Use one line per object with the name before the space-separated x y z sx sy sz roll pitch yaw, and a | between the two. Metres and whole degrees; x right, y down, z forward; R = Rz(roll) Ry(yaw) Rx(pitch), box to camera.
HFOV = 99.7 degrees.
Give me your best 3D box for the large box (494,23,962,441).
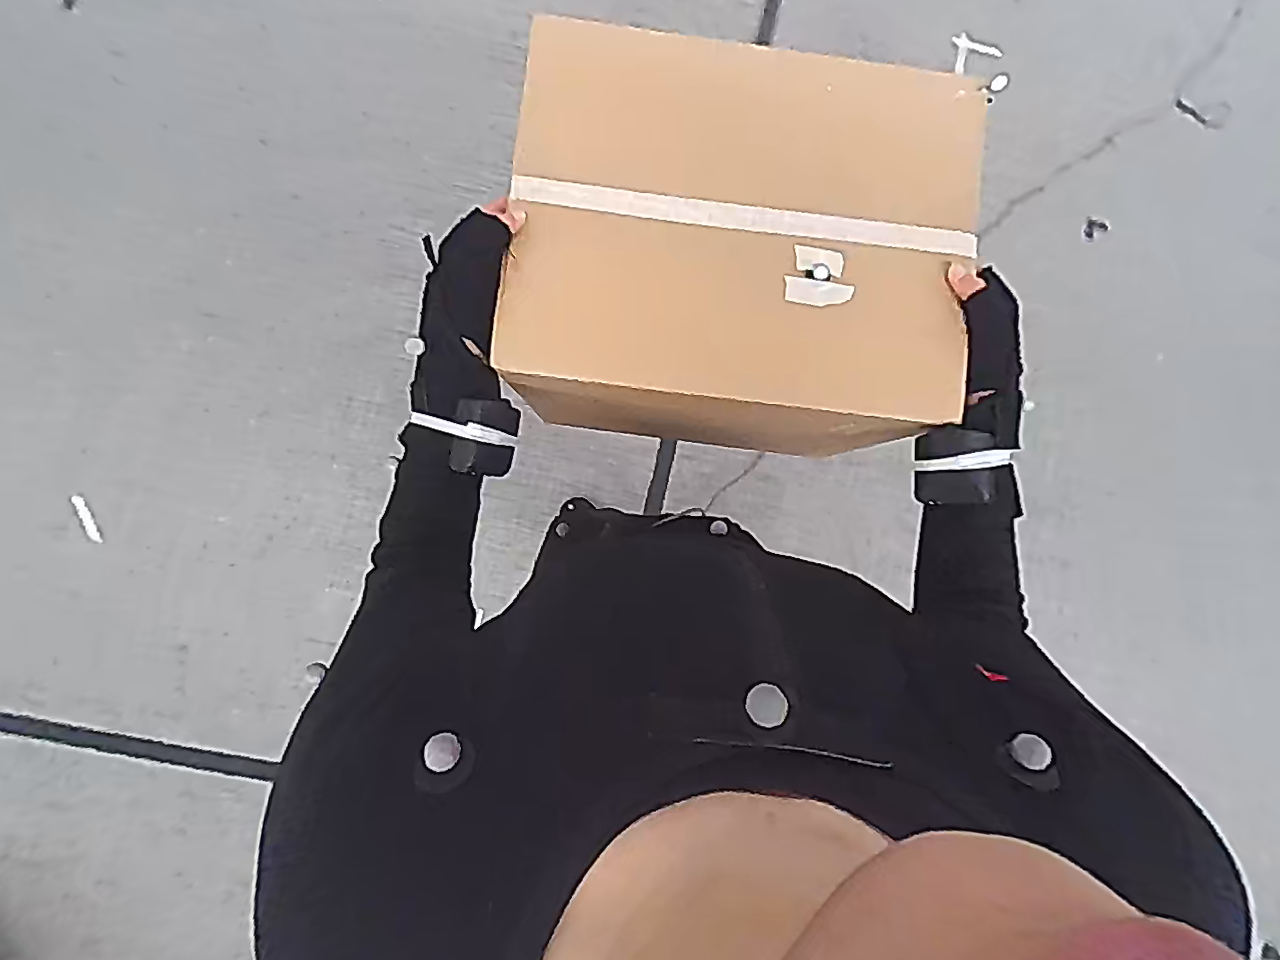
large box | 0.075 -0.229 0.625 0.408 0.320 0.320 6 88 -2
